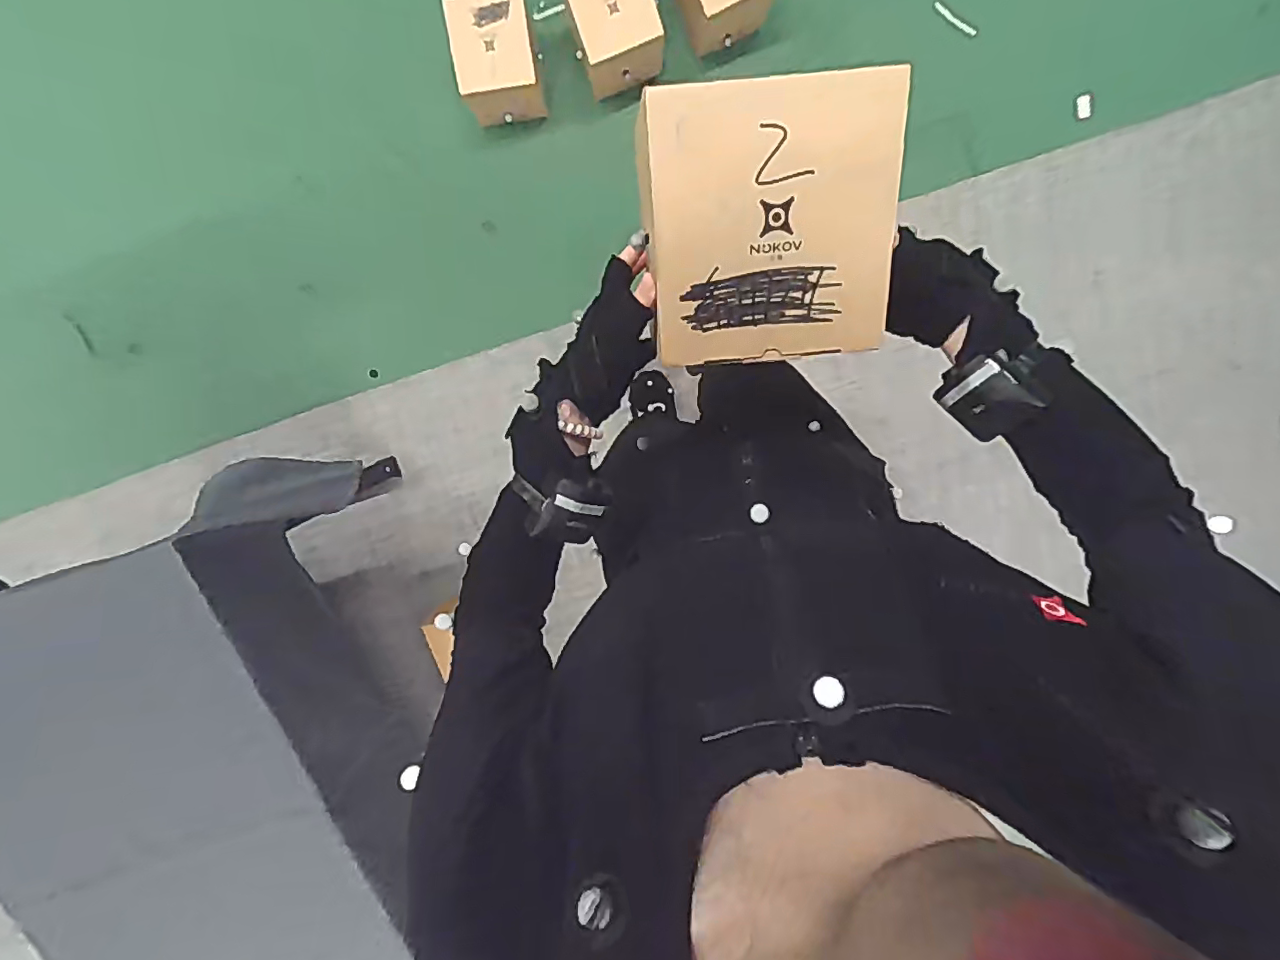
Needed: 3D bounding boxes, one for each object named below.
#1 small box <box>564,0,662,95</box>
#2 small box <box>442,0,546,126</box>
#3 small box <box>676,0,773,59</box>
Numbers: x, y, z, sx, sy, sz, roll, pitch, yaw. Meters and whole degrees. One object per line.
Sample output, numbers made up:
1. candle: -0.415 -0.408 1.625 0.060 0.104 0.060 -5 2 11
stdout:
1. small box: -0.058 -0.973 1.166 0.168 0.176 0.179 -20 102 3
2. small box: -0.309 -0.911 1.178 0.168 0.176 0.179 -7 104 1
3. small box: 0.173 -1.061 1.152 0.168 0.176 0.179 -23 102 5
